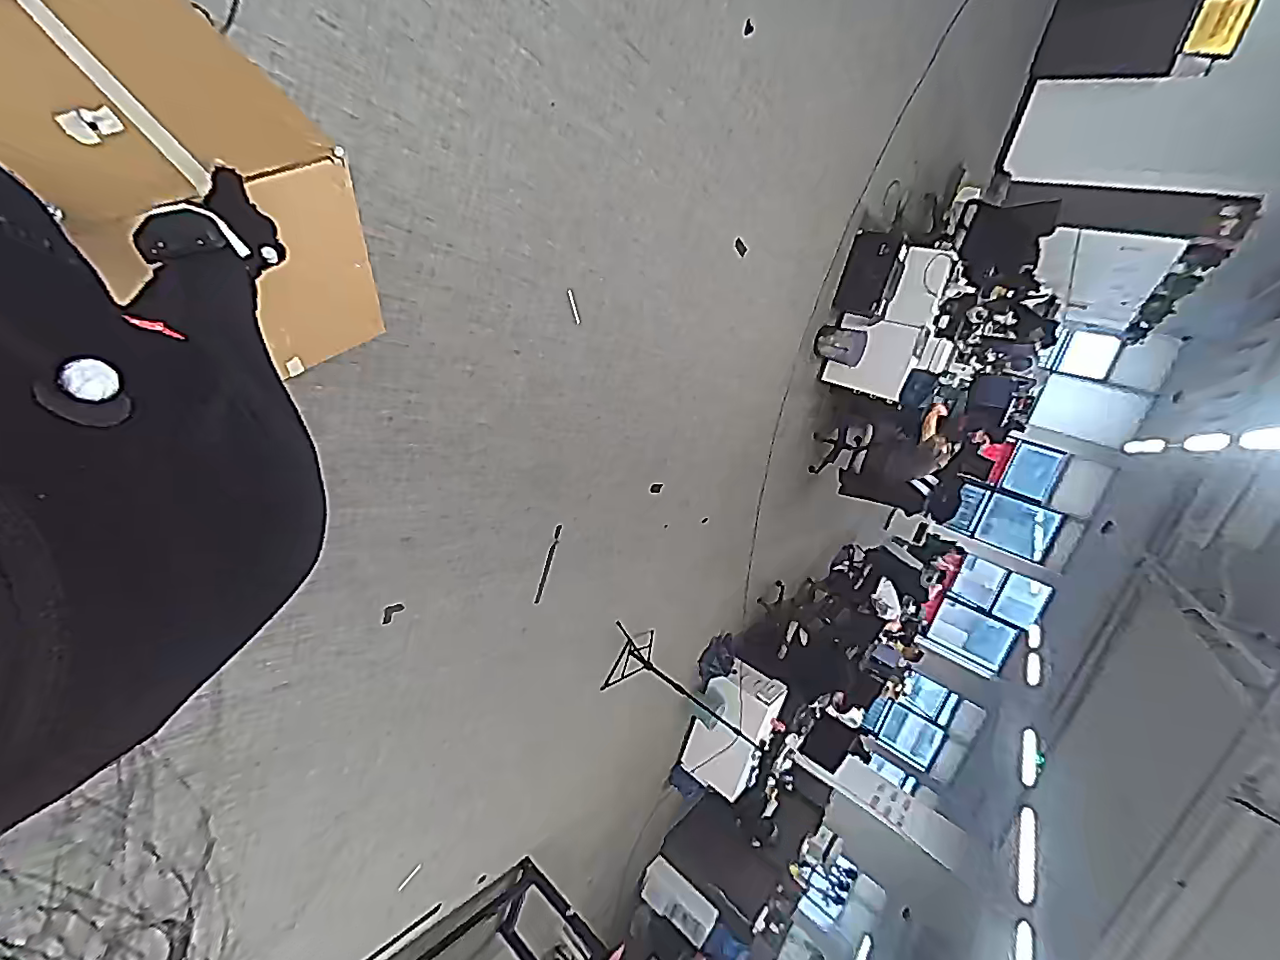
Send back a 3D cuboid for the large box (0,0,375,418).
[{"bbox_3d":[-0.644,-0.369,0.743,0.320,0.408,0.320,-41,170,-29],"label":"large box"}]
